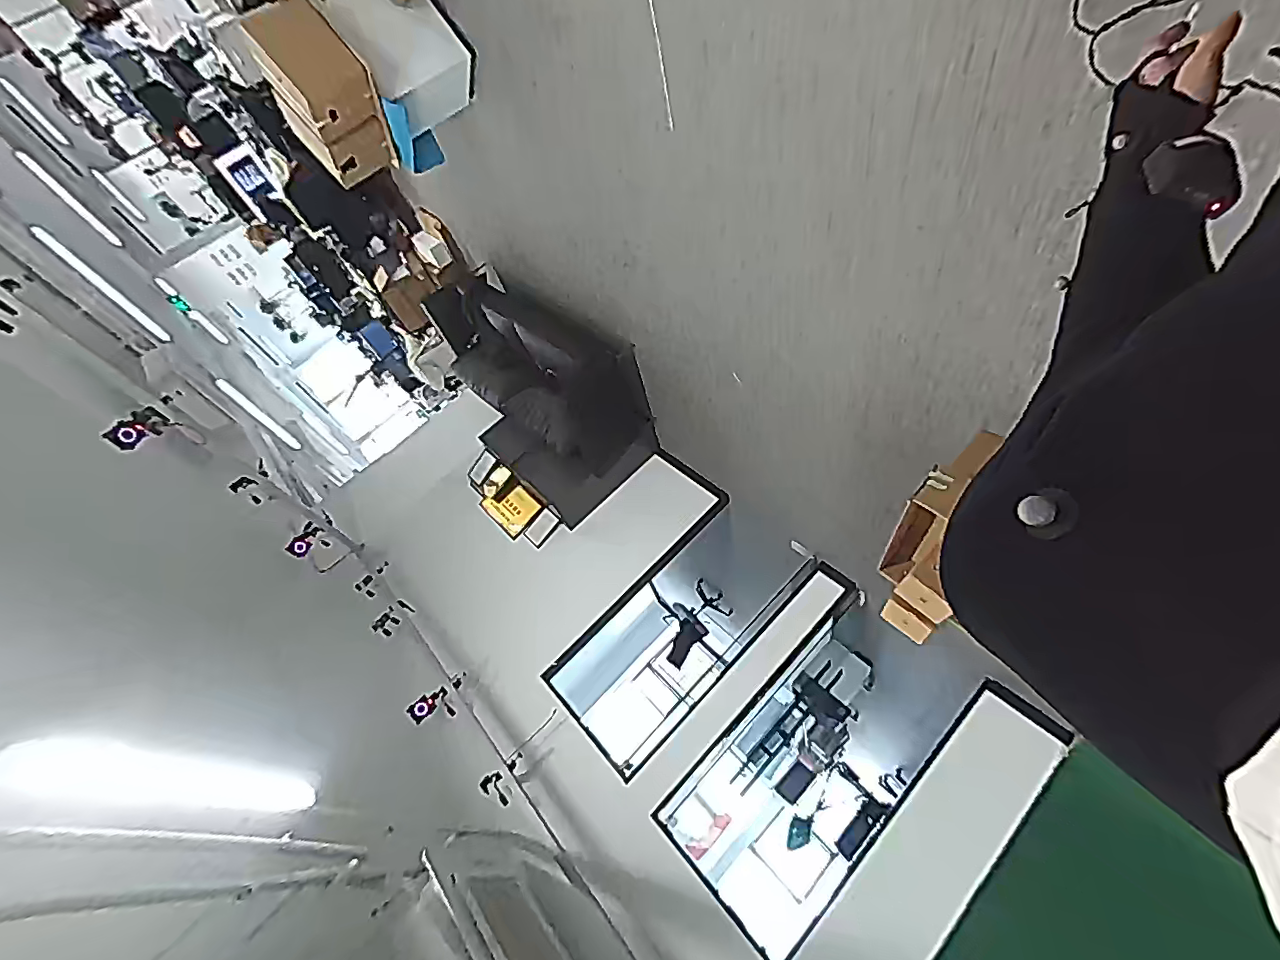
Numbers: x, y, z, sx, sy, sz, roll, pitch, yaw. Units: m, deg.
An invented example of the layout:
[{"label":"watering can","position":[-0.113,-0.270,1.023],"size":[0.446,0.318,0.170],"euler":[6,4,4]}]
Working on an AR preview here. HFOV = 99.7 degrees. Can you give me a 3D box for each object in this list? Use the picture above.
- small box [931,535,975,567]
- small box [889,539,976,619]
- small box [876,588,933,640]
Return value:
[{"label":"small box","position":[1.114,0.342,2.025],"size":[0.168,0.176,0.179],"euler":[37,160,29]},{"label":"small box","position":[0.958,0.320,1.768],"size":[0.168,0.176,0.179],"euler":[41,164,24]},{"label":"small box","position":[0.999,0.446,1.976],"size":[0.168,0.176,0.179],"euler":[39,160,30]}]
